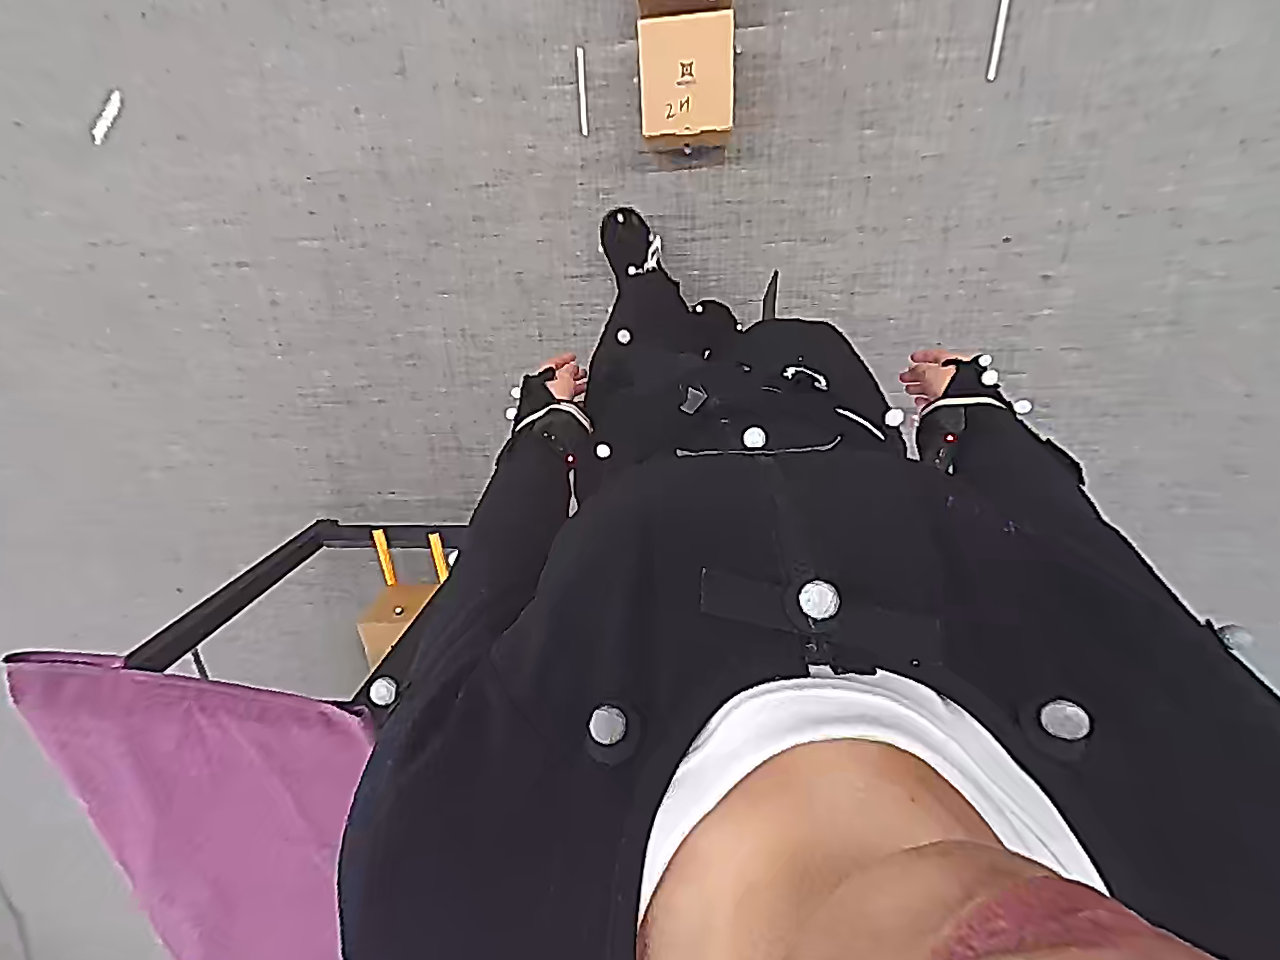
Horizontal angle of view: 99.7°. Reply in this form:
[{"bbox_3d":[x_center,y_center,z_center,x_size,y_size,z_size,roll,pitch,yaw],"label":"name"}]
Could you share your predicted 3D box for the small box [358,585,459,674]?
[{"bbox_3d":[-0.609,0.394,1.442,0.179,0.176,0.168,-2,114,4],"label":"small box"}]
